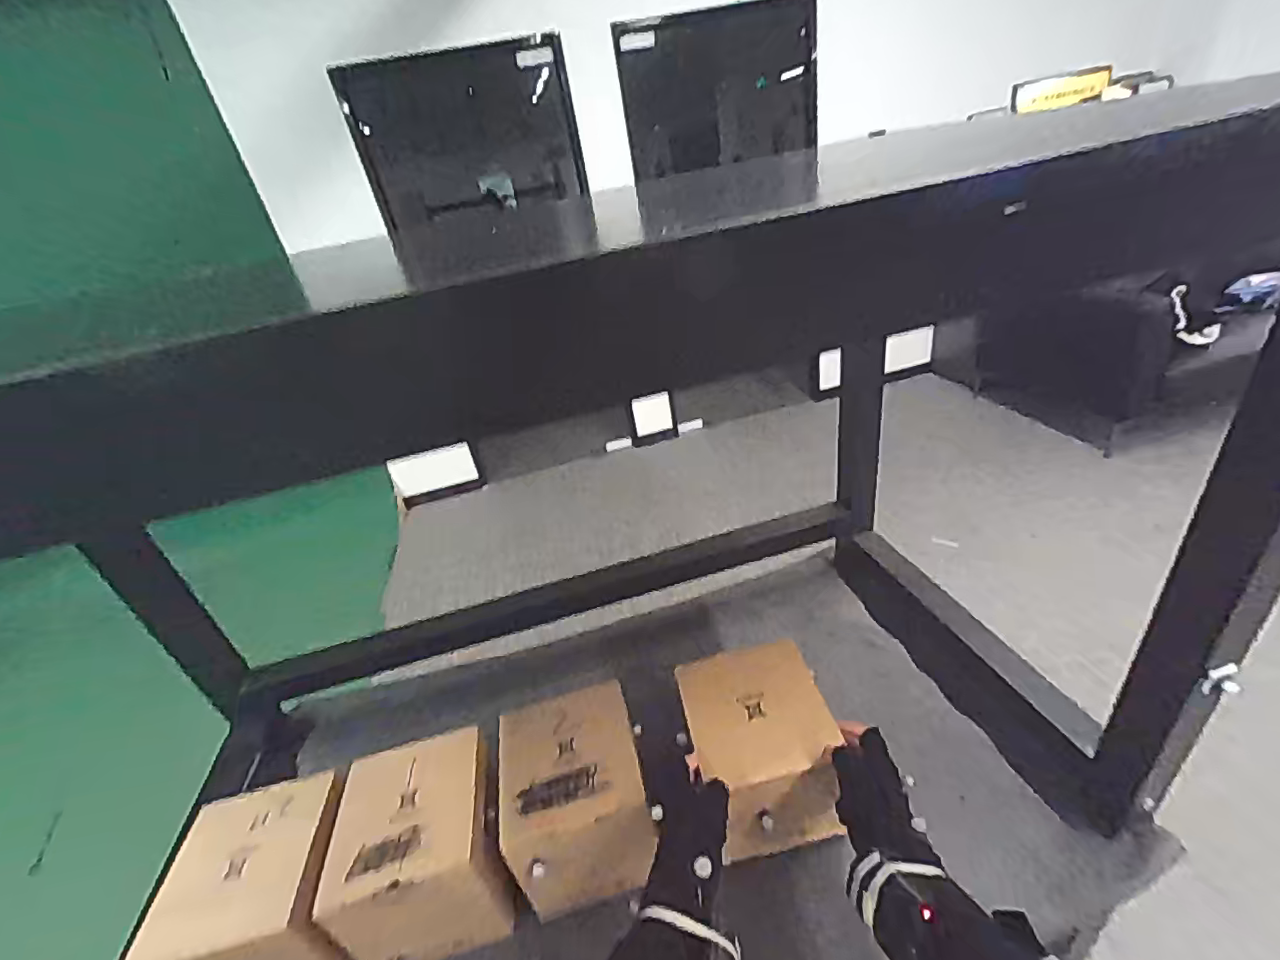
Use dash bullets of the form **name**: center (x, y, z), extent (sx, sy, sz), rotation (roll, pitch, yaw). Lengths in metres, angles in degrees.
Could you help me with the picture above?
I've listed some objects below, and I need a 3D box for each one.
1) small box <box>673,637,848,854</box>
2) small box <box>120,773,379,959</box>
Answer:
- **small box**: center (0.150, 0.338, 0.686), extent (0.168, 0.176, 0.179), rotation (-14, 30, -2)
- **small box**: center (-0.436, 0.495, 0.640), extent (0.168, 0.176, 0.179), rotation (-13, 29, -5)
